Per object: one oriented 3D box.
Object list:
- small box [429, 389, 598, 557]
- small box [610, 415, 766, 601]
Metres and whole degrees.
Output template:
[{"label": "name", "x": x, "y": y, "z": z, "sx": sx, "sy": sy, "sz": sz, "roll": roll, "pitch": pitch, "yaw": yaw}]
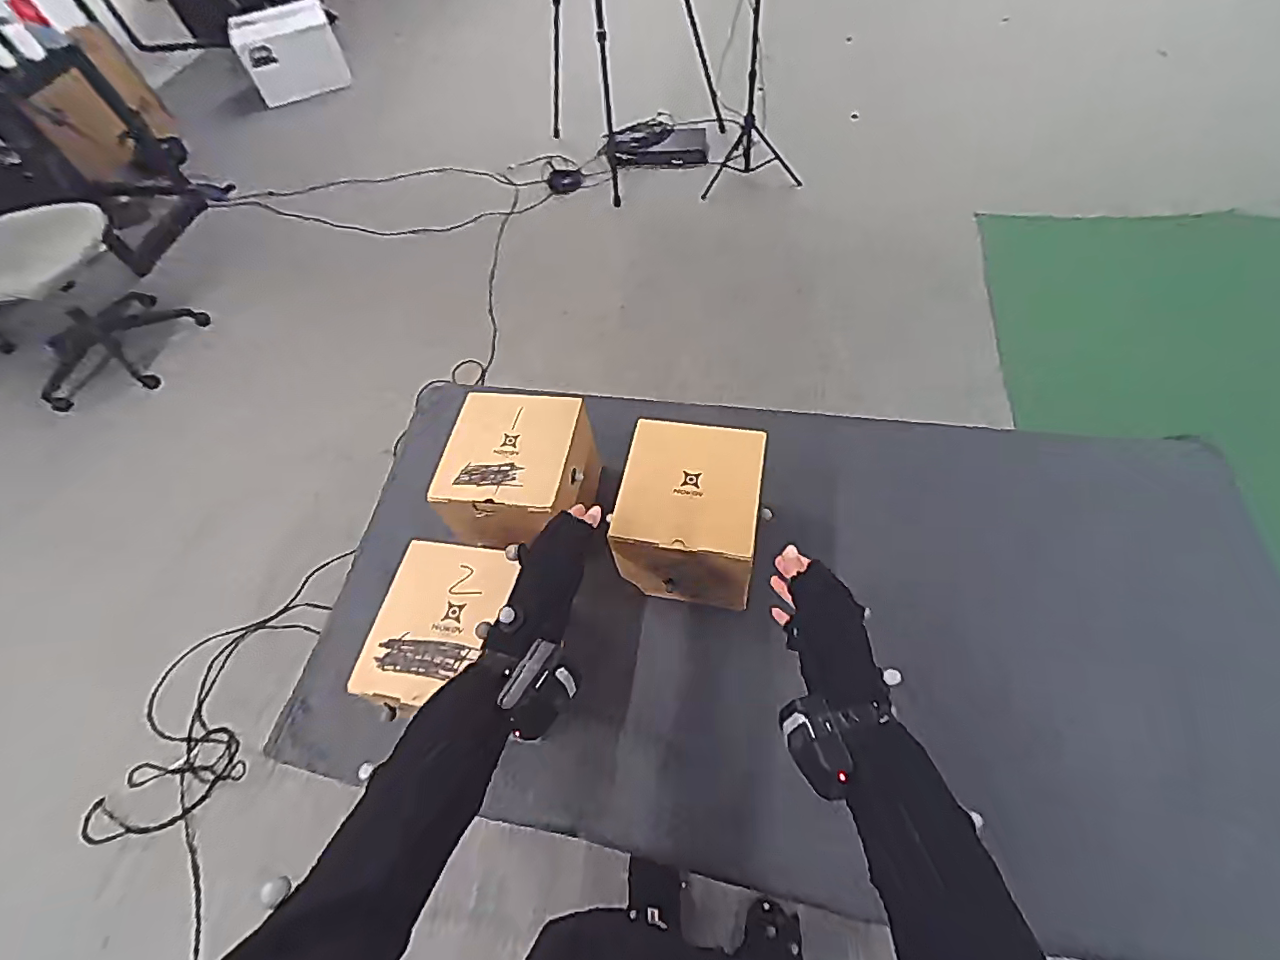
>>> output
[{"label": "small box", "x": -0.162, "y": -0.005, "z": 0.766, "sx": 0.168, "sy": 0.176, "sz": 0.179, "roll": 5, "pitch": 59, "yaw": 9}, {"label": "small box", "x": 0.067, "y": 0.040, "z": 0.713, "sx": 0.168, "sy": 0.176, "sz": 0.179, "roll": 7, "pitch": 60, "yaw": 11}]
